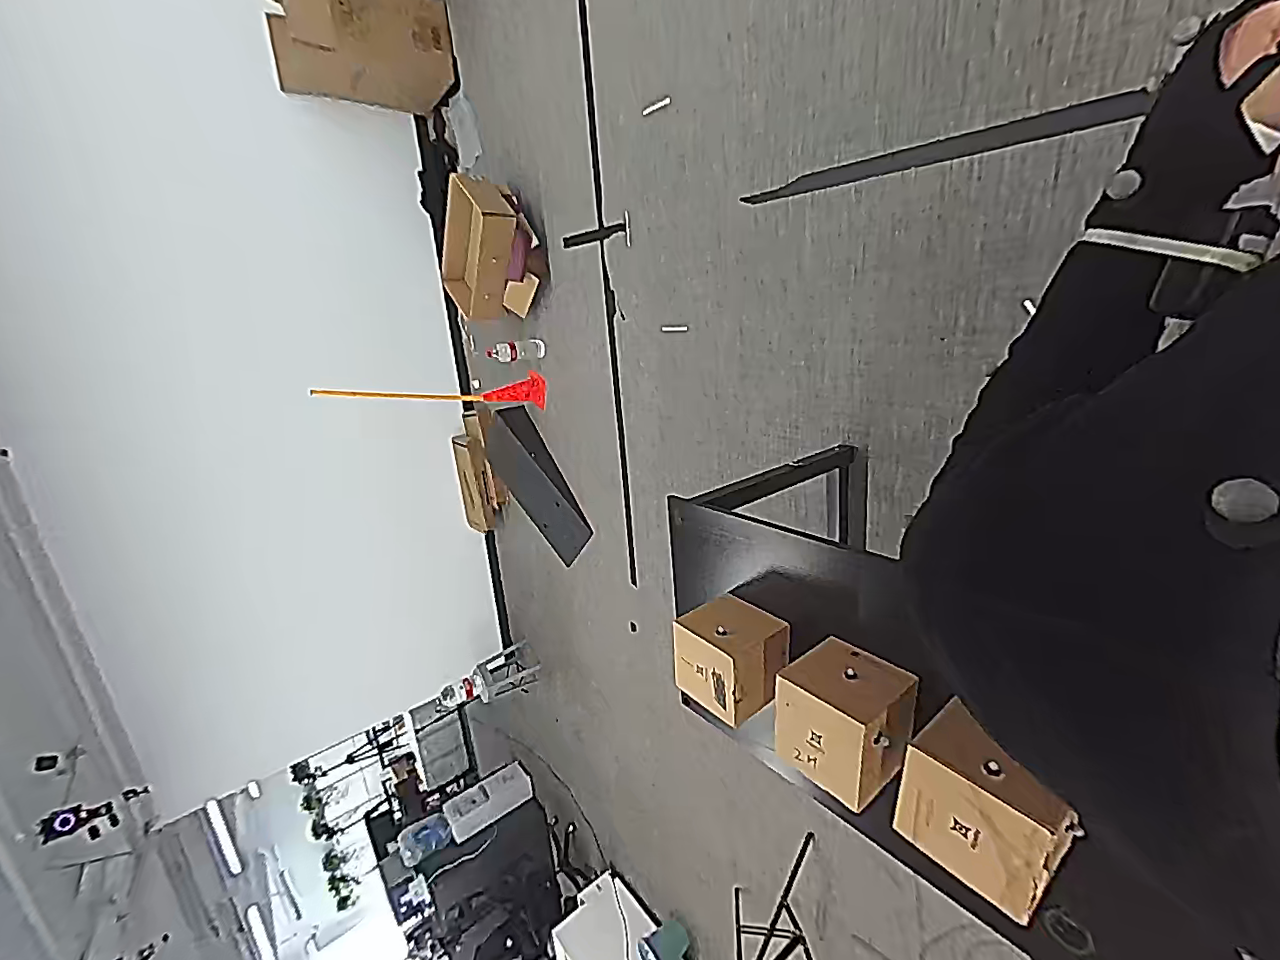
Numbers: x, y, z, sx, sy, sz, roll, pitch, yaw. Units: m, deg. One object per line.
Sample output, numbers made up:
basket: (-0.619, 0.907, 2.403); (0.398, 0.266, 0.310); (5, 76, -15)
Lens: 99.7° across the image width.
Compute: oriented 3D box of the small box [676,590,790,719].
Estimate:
small box: (0.197, 0.355, 1.141); (0.179, 0.176, 0.168); (20, 120, 49)

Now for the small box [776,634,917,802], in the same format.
small box: (0.358, 0.397, 0.940); (0.168, 0.176, 0.179); (19, 119, 49)
